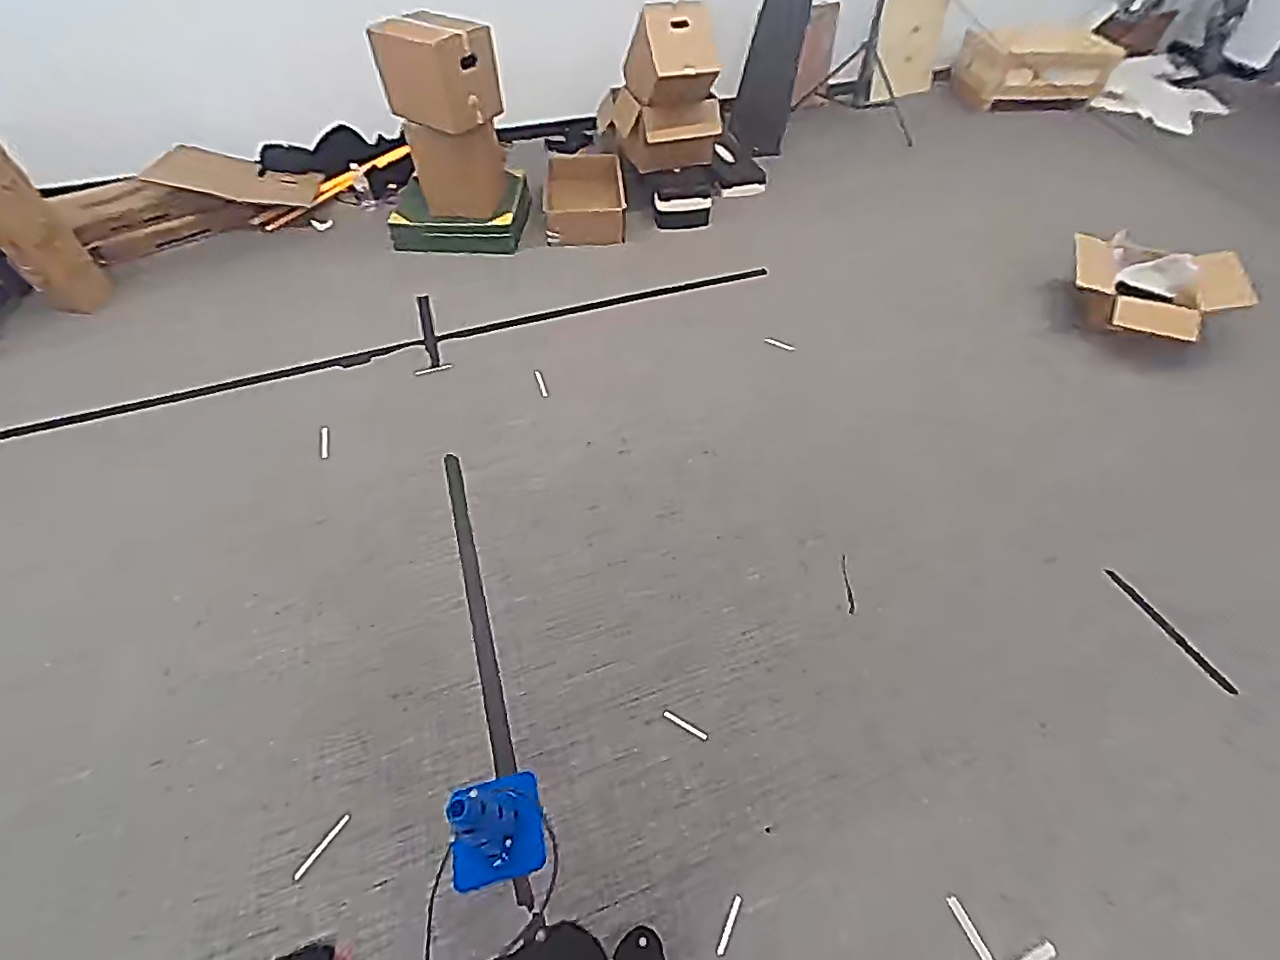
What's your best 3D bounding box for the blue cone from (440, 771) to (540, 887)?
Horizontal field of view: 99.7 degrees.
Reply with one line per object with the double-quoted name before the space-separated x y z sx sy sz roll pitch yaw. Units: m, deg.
"blue cone" -0.324 0.674 1.069 0.193 0.380 0.192 -13 54 -10
